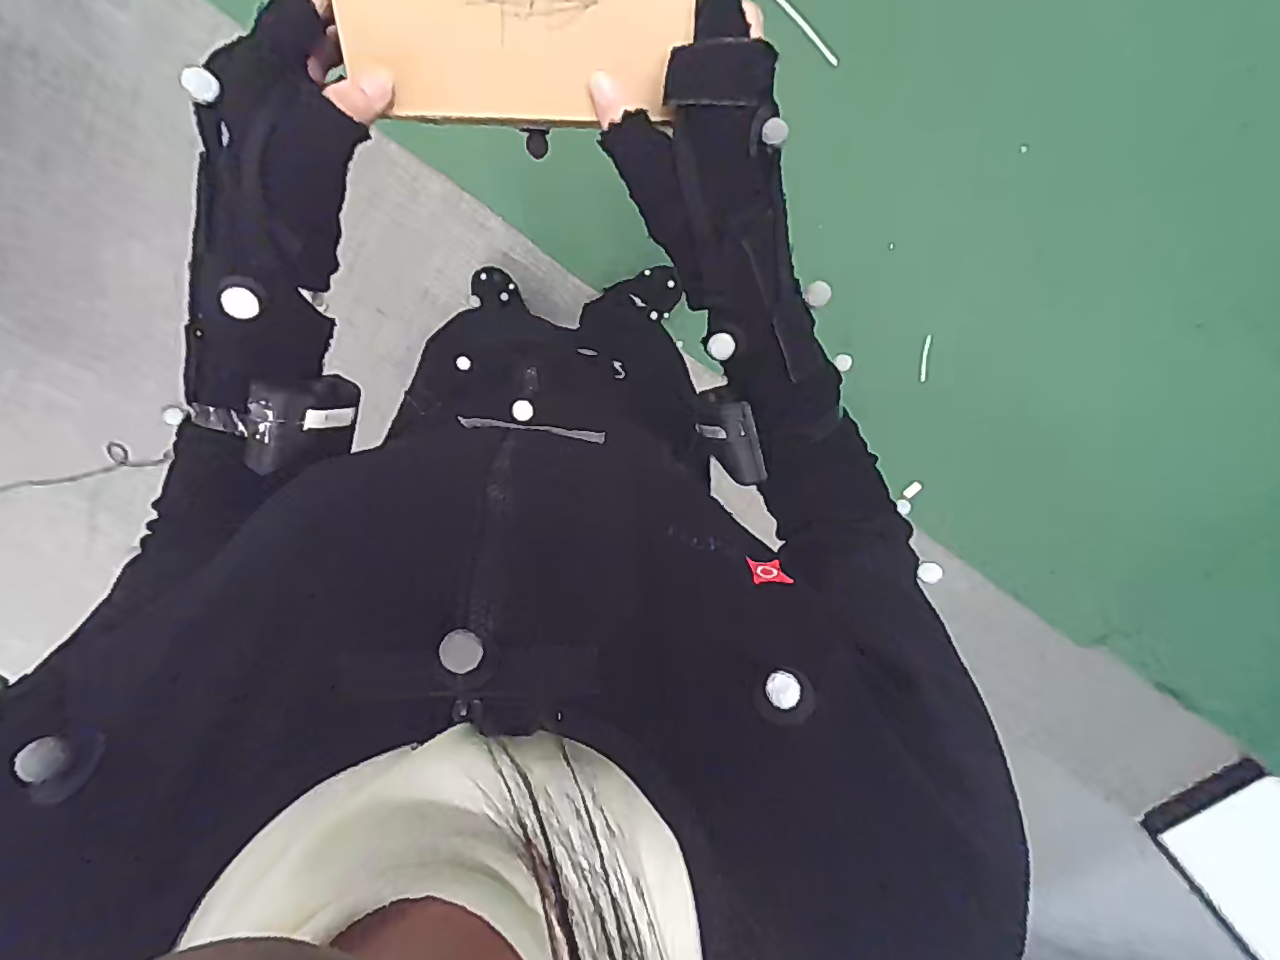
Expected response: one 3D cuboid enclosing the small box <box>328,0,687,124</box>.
[{"bbox_3d":[-0.062,-0.300,0.291,0.168,0.176,0.179,0,123,-1],"label":"small box"}]
